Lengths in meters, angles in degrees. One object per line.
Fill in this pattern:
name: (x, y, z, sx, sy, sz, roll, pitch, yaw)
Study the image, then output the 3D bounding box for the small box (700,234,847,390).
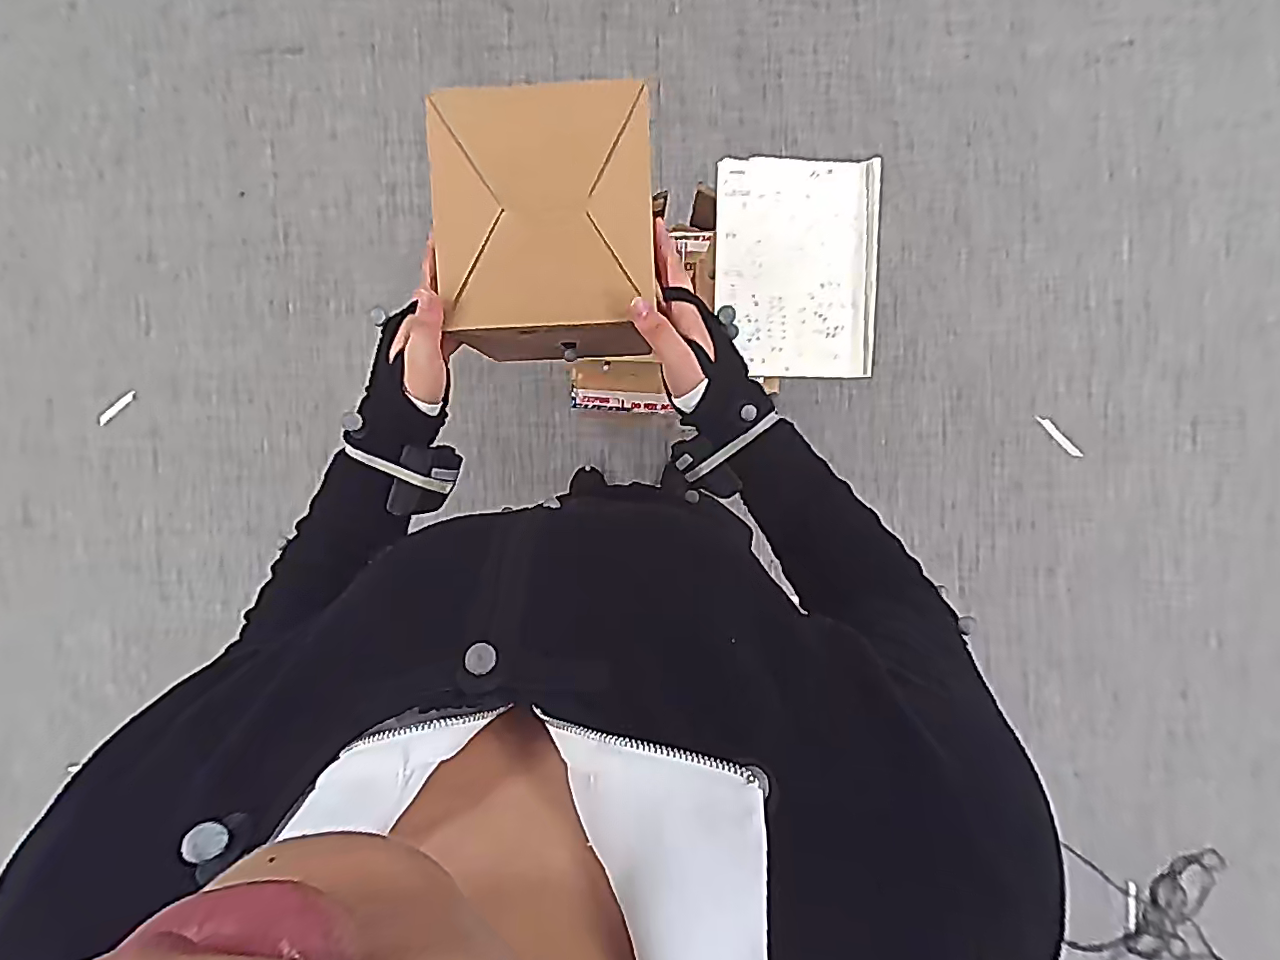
small box: (0.180, -0.229, 0.774, 0.168, 0.176, 0.179, 1, 93, -2)
